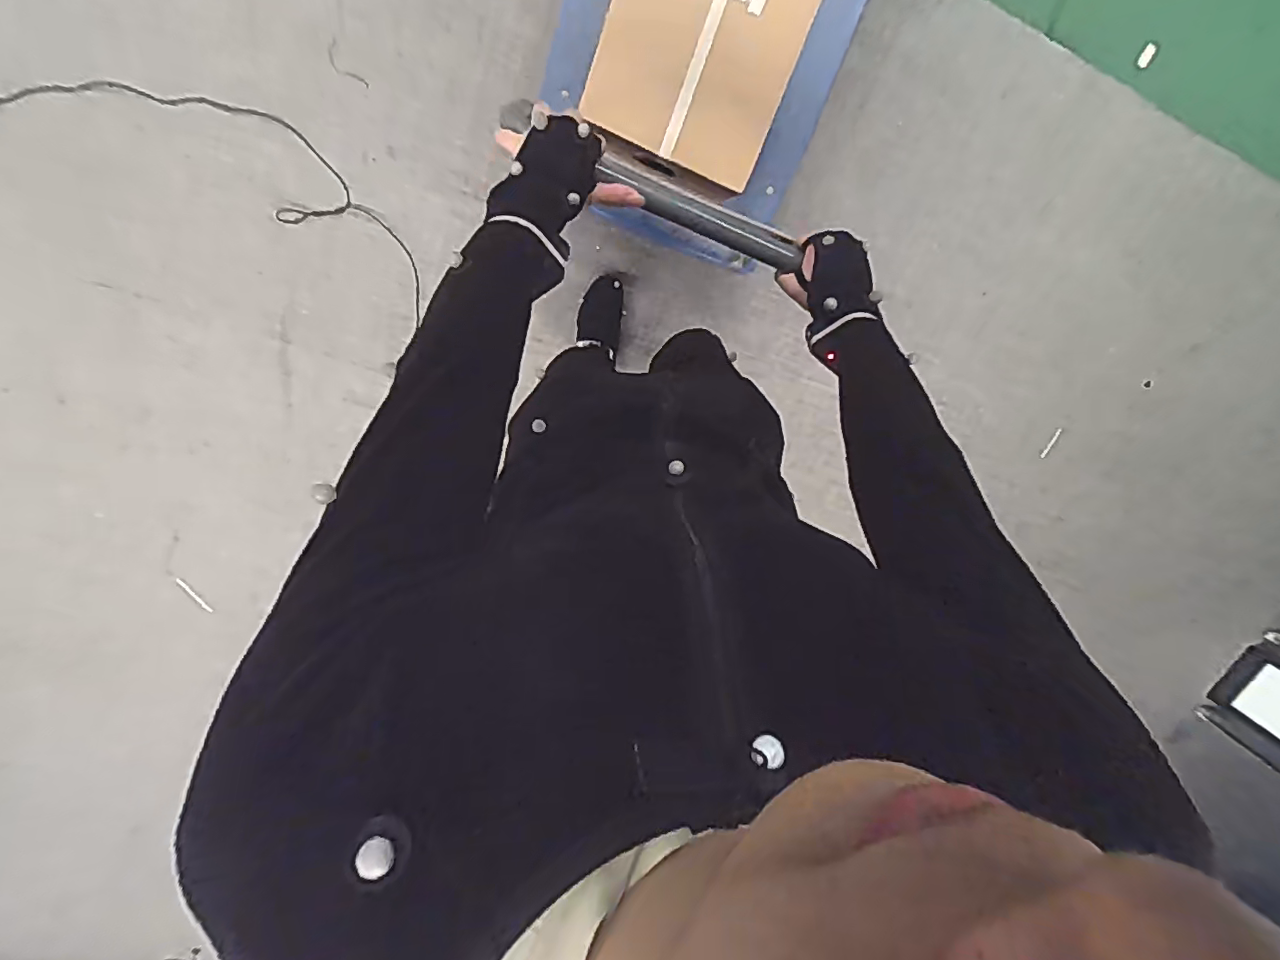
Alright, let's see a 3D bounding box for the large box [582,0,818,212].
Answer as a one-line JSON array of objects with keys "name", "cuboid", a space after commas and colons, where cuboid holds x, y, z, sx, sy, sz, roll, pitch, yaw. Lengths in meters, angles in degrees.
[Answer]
[{"name": "large box", "cuboid": [0.096, -0.782, 1.018, 0.320, 0.320, 0.408, 18, 107, -13]}]
